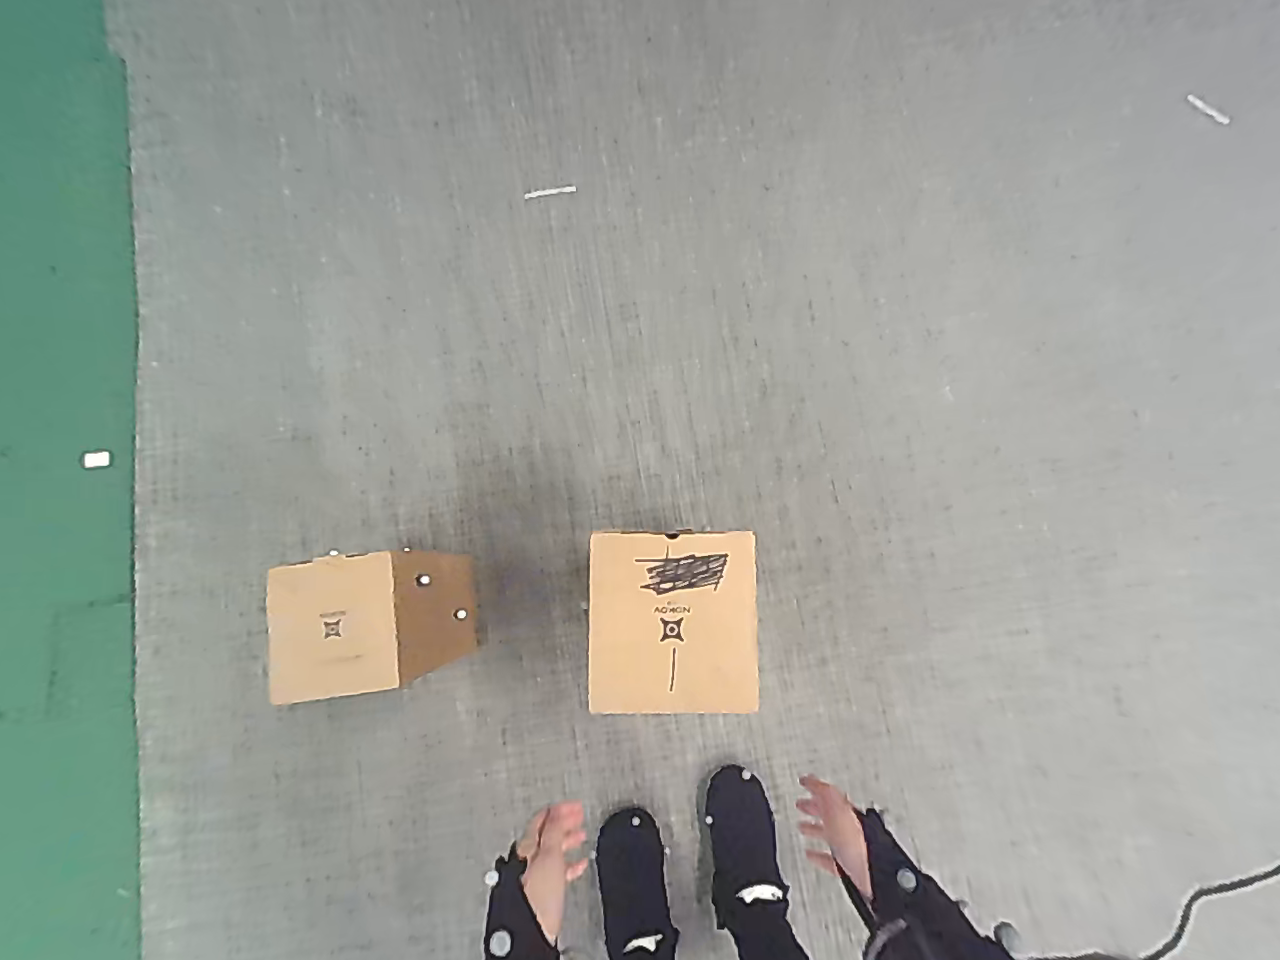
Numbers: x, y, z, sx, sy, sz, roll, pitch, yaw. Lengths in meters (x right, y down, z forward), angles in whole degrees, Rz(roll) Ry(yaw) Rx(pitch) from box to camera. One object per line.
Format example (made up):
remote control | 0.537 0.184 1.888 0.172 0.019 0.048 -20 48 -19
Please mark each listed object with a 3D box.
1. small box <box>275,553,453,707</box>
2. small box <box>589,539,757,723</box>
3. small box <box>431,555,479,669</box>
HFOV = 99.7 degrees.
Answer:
small box | -0.383 0.203 0.774 0.168 0.176 0.179 -9 83 1
small box | 0.033 0.156 0.610 0.168 0.176 0.179 0 84 1
small box | -0.384 0.225 0.935 0.168 0.176 0.179 -5 82 0
